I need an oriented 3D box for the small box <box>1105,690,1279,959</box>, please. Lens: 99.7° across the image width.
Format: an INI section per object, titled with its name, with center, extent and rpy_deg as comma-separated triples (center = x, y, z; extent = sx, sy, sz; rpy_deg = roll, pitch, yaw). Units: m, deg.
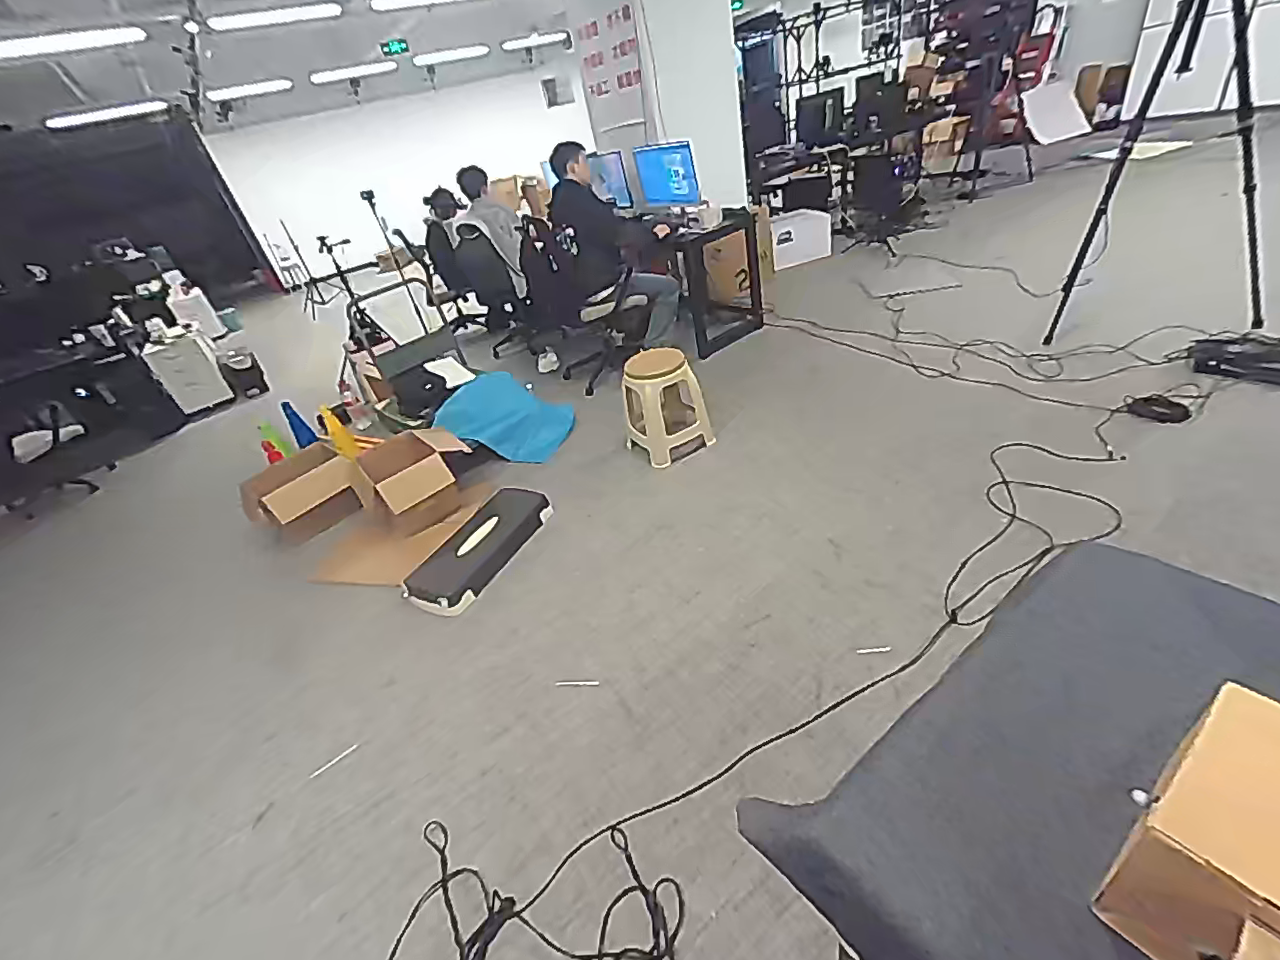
[small box]
center = 0.507, 0.313, 0.418
extent = 0.179, 0.176, 0.168
rpy_deg = -32, 38, -24
